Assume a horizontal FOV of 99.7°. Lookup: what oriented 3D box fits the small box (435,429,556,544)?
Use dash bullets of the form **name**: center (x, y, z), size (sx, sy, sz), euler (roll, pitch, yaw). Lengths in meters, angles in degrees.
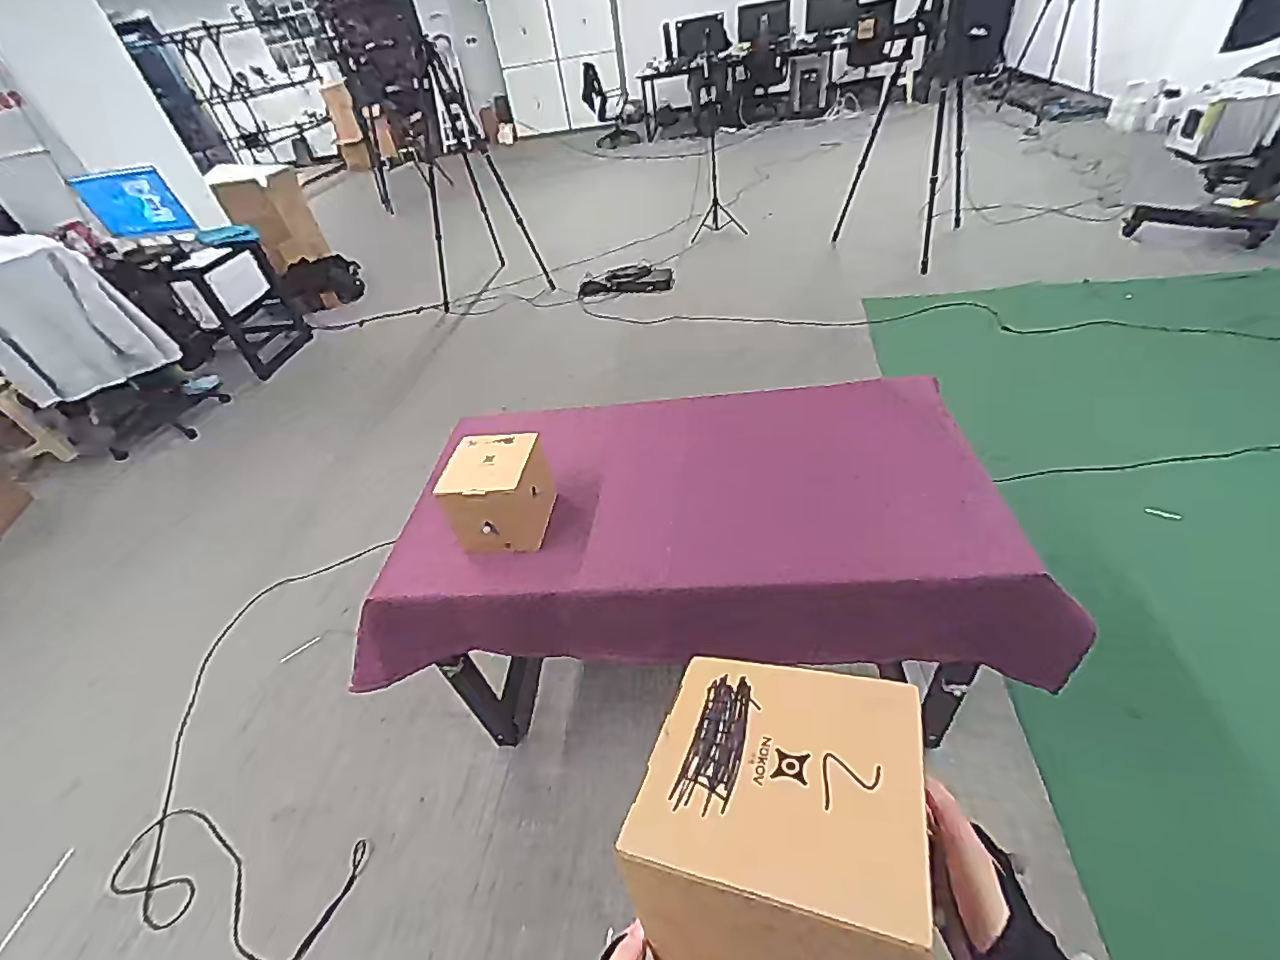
- **small box**: center (-0.279, 0.016, 1.096), size (0.168, 0.176, 0.179), euler (-1, 43, 9)
